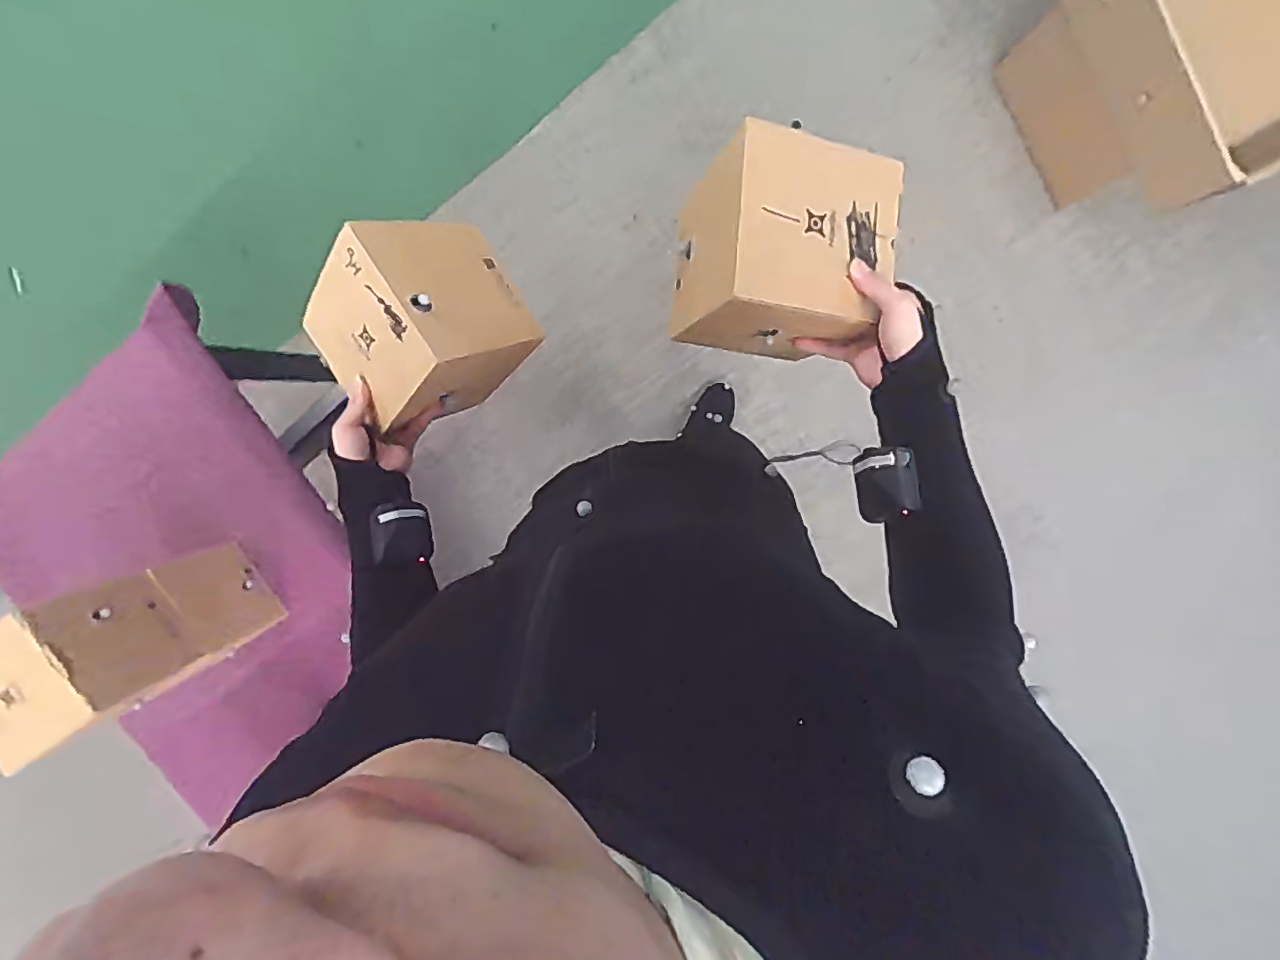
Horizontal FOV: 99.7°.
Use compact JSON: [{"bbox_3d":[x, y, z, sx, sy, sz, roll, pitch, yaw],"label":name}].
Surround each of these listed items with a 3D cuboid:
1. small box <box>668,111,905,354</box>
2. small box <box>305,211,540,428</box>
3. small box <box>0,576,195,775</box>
[{"bbox_3d":[0.145,-0.240,0.577,0.179,0.176,0.168,5,89,-16],"label":"small box"},{"bbox_3d":[-0.252,-0.188,0.642,0.179,0.176,0.168,-31,92,40],"label":"small box"},{"bbox_3d":[-0.789,0.261,0.764,0.179,0.176,0.168,-34,94,9],"label":"small box"}]
